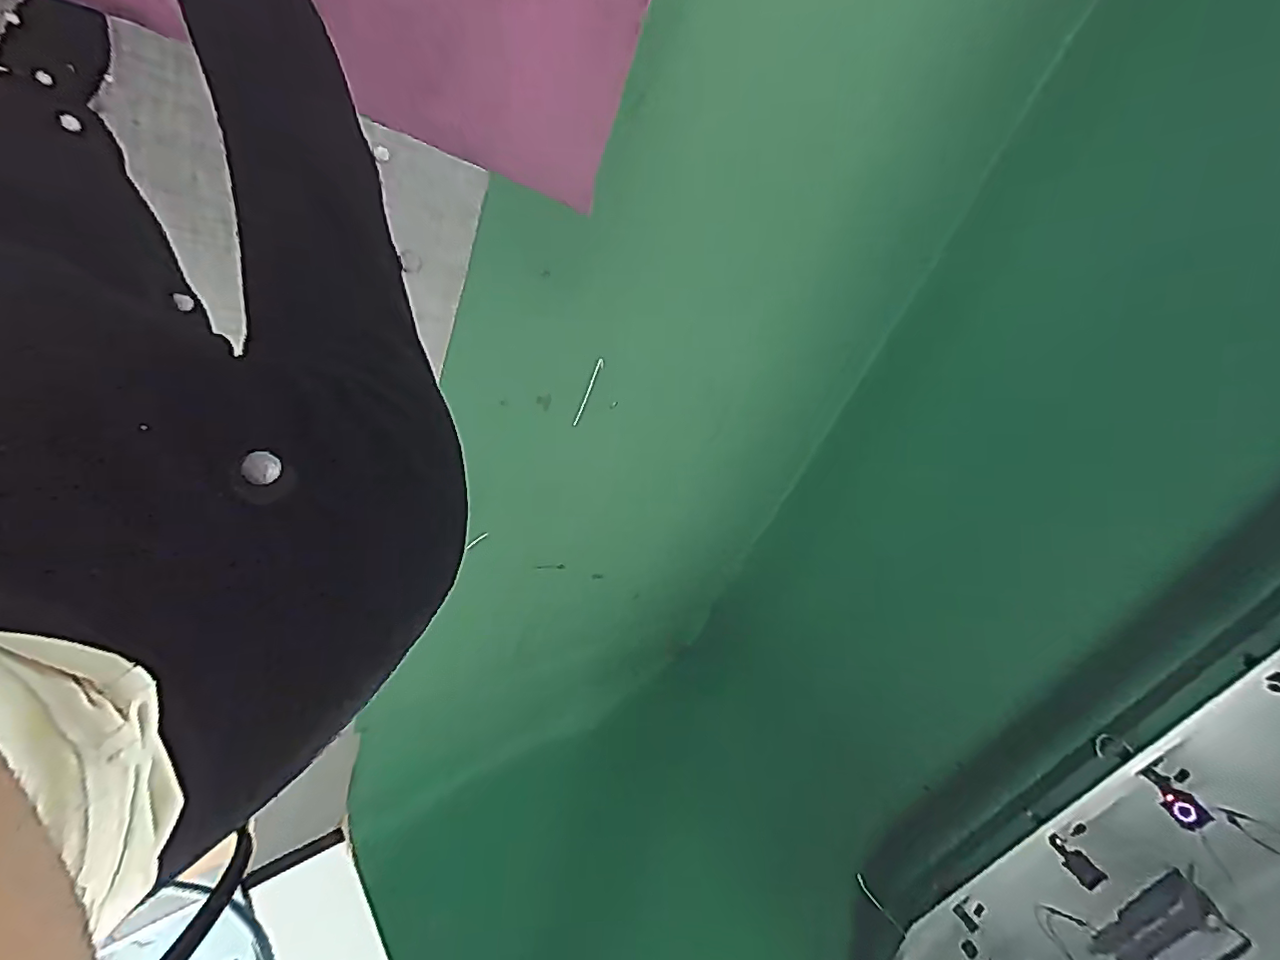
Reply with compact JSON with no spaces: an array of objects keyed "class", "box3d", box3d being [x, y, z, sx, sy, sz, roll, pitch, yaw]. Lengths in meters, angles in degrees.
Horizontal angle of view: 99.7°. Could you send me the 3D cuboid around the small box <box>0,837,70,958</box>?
[{"class":"small box","box3d":[-1.546,1.046,1.352,0.168,0.176,0.179,-3,126,-47]}]
